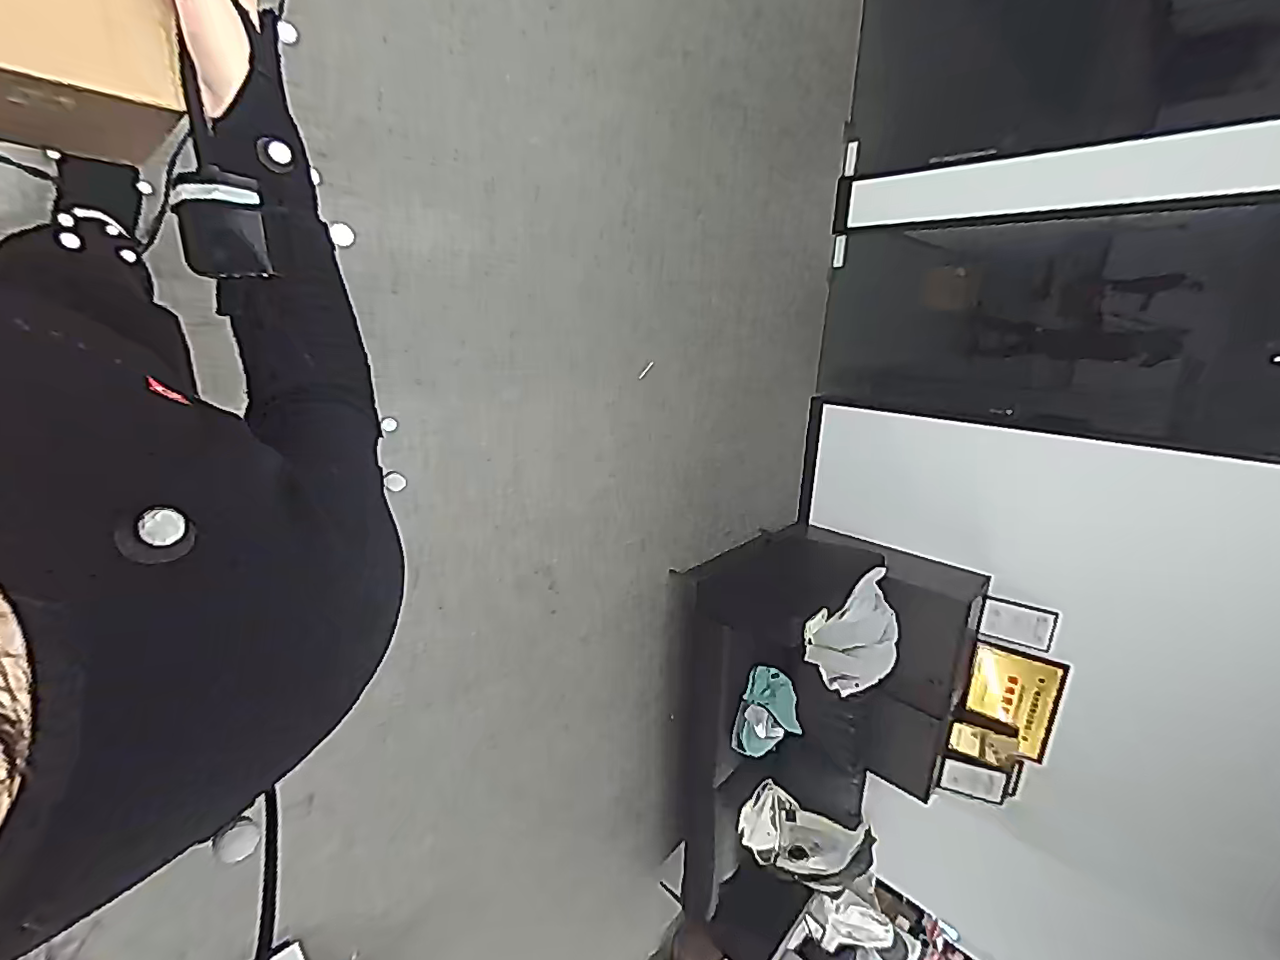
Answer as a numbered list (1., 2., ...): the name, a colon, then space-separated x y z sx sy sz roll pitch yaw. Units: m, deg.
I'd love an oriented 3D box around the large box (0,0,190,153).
1. large box: -0.542 -0.405 0.279 0.408 0.320 0.320 -14 116 -45
